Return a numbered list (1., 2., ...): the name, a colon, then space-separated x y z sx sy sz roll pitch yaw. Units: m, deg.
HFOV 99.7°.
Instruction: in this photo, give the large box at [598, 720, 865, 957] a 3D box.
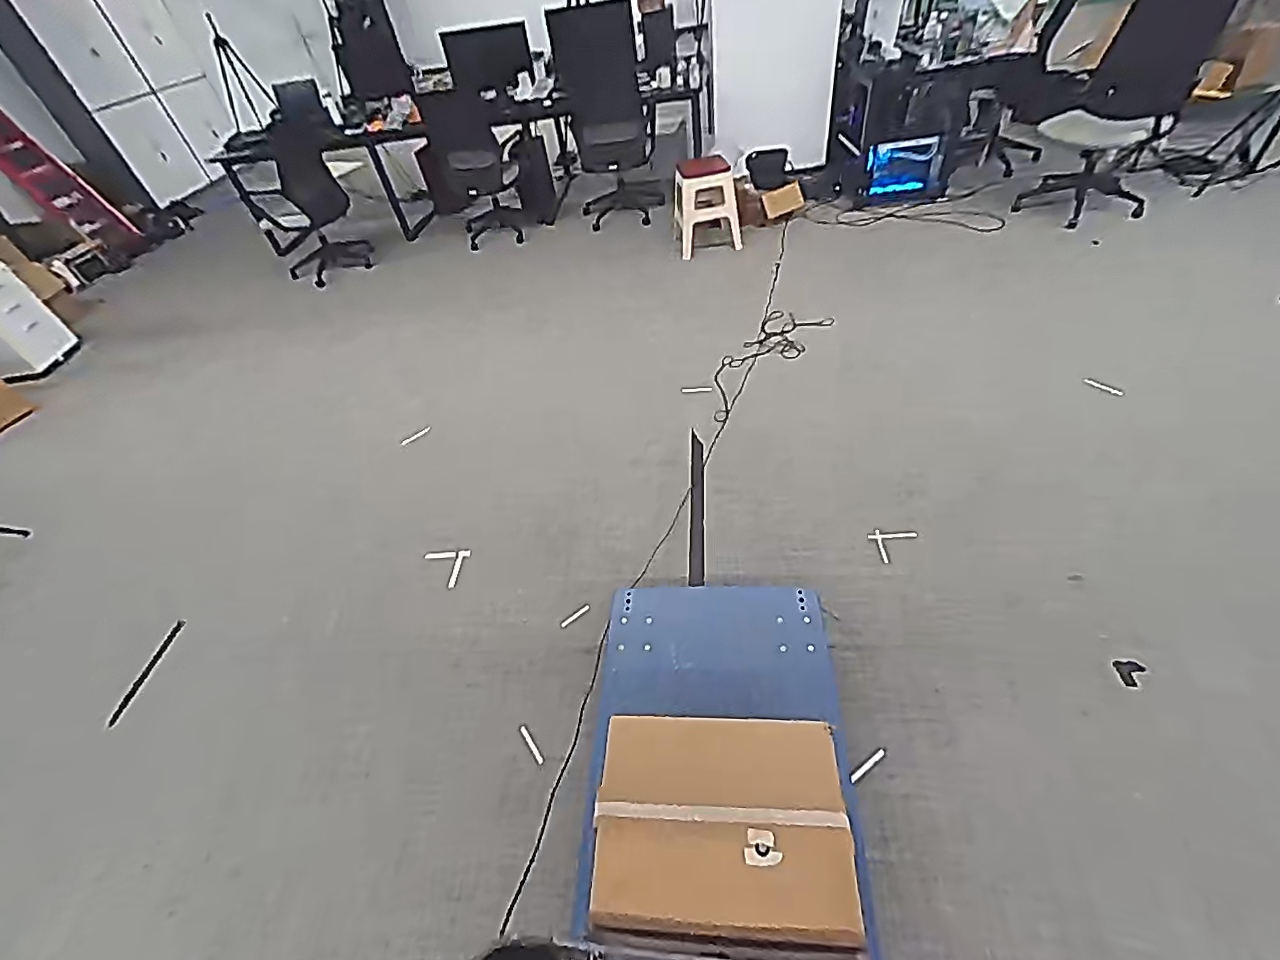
1. large box: 0.154 0.666 1.008 0.408 0.320 0.320 -2 46 7
